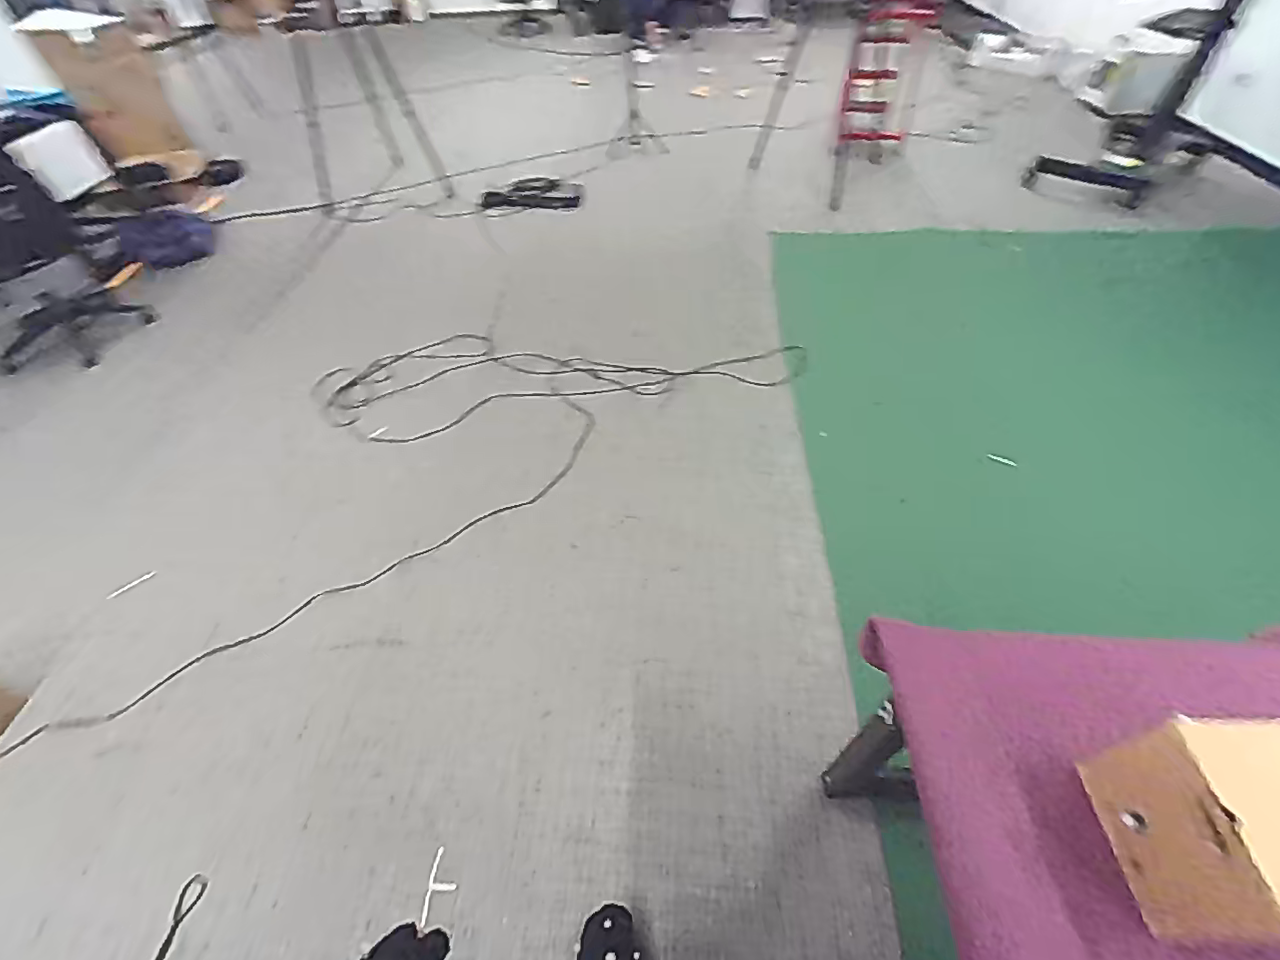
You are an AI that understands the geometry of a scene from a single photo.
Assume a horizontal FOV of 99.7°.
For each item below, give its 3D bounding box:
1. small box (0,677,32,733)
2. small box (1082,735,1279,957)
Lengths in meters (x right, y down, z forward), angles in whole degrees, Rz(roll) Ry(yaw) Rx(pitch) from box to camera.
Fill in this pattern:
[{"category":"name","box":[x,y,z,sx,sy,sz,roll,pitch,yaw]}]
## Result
[{"category":"small box","box":[-1.789,0.599,1.413,0.179,0.176,0.168,2,47,2]},{"category":"small box","box":[0.607,0.365,0.537,0.179,0.176,0.168,0,50,3]}]
